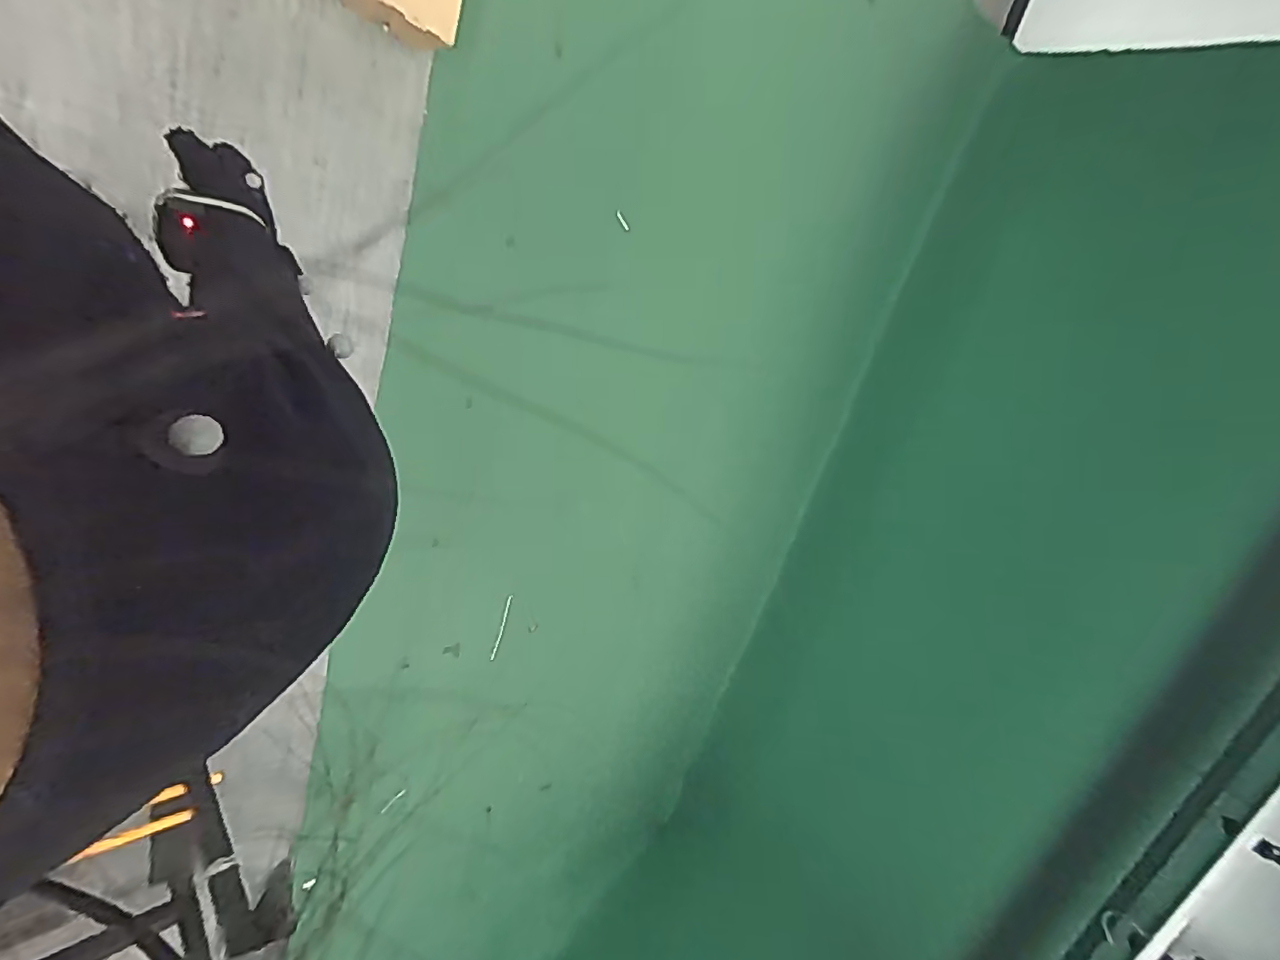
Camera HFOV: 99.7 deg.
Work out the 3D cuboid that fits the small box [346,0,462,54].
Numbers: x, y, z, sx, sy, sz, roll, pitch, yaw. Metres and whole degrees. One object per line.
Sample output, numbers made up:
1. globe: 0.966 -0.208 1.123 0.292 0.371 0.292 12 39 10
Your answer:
1. small box: -0.478 -1.013 1.102 0.168 0.176 0.179 -1 114 -48
